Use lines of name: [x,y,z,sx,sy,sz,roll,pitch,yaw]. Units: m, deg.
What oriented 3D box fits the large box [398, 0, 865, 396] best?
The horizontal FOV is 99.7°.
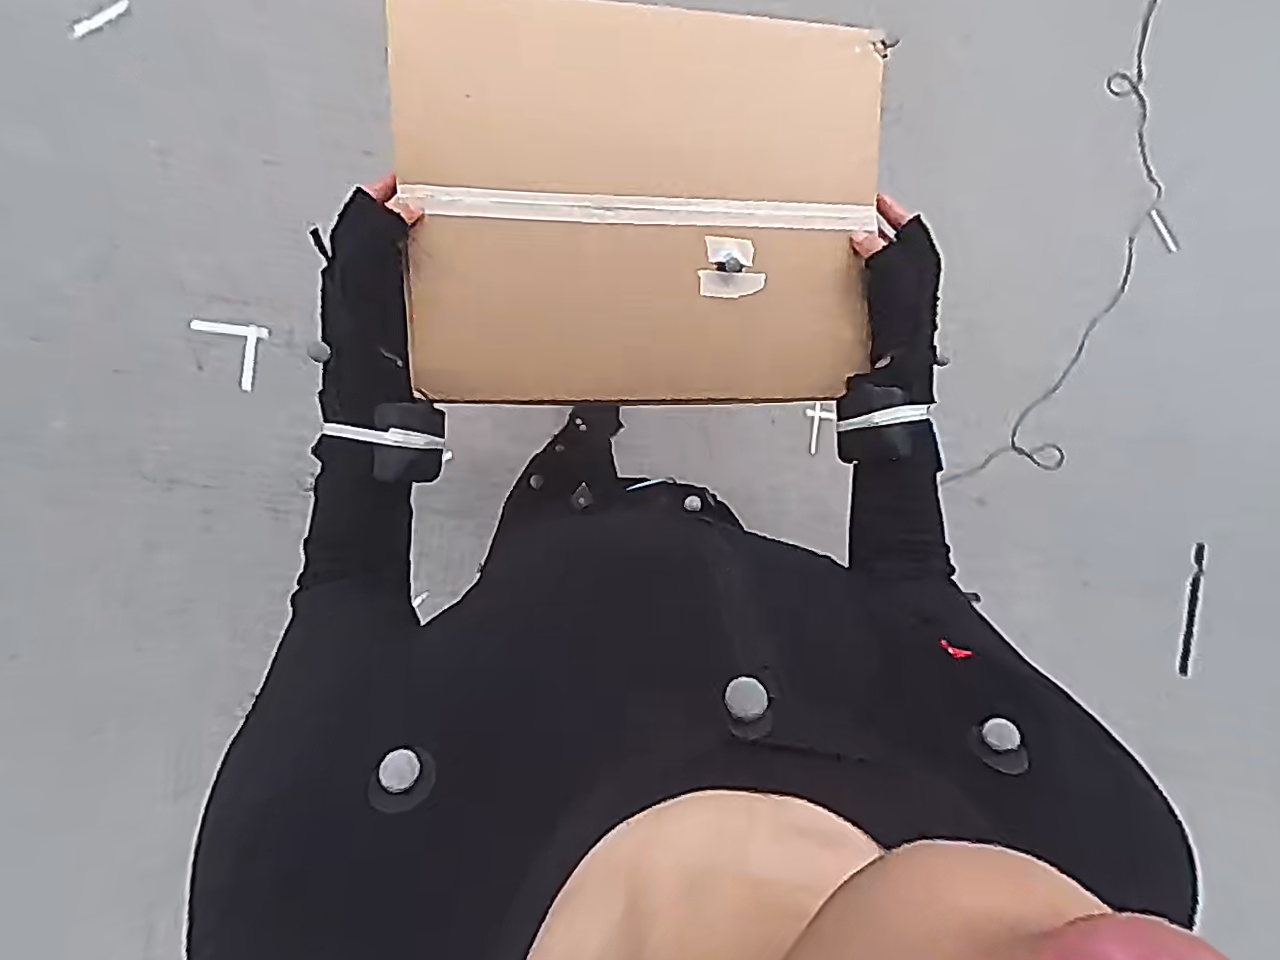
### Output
large box: [-0.016,-0.259,0.617,0.408,0.320,0.320,-2,99,-9]
